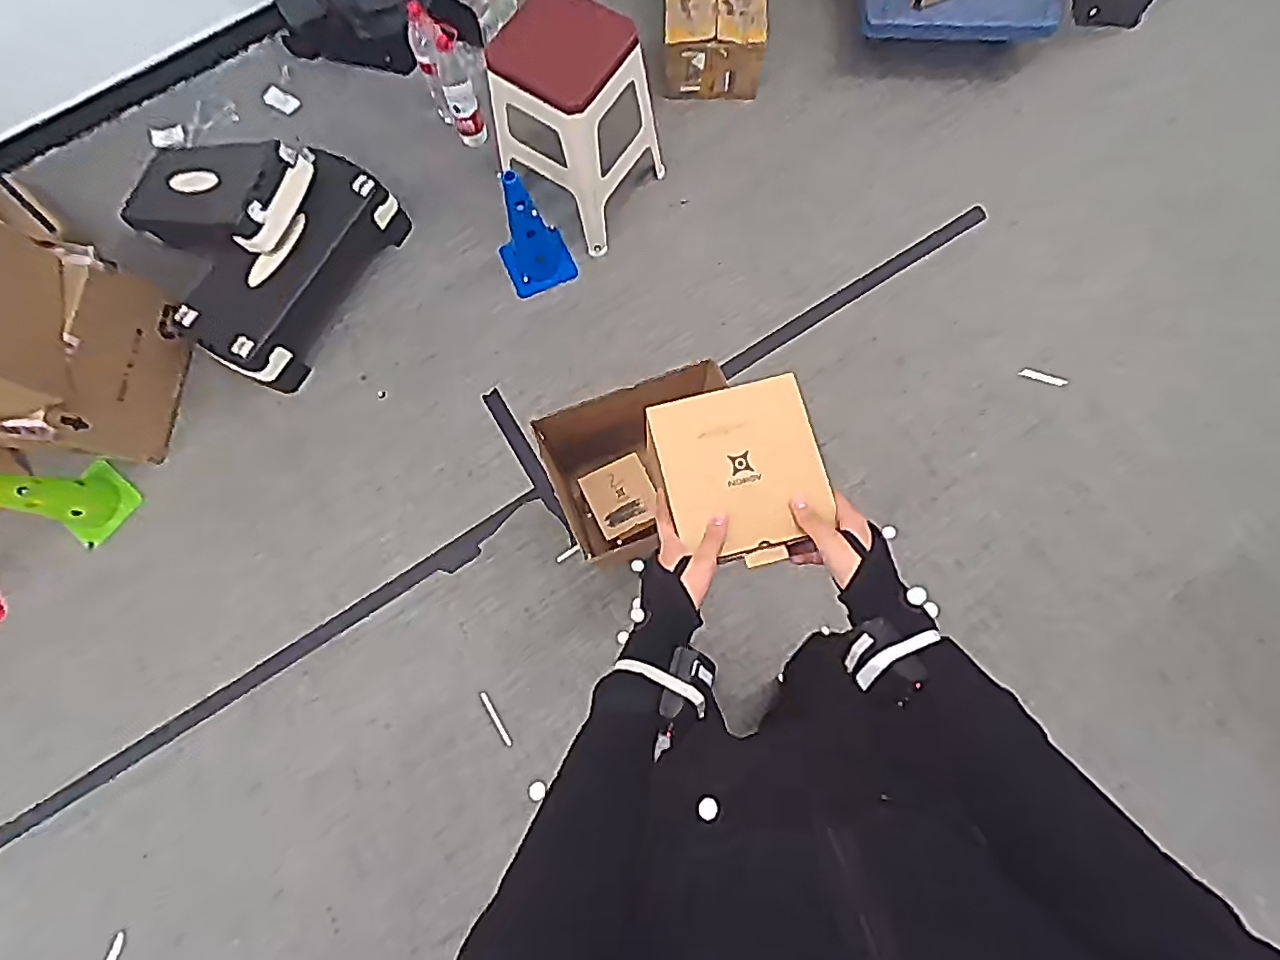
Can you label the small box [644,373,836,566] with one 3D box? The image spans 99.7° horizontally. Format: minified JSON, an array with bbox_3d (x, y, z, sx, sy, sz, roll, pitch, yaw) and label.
[{"bbox_3d":[0.104,0.001,0.637,0.168,0.176,0.179,-13,78,-2],"label":"small box"}]
